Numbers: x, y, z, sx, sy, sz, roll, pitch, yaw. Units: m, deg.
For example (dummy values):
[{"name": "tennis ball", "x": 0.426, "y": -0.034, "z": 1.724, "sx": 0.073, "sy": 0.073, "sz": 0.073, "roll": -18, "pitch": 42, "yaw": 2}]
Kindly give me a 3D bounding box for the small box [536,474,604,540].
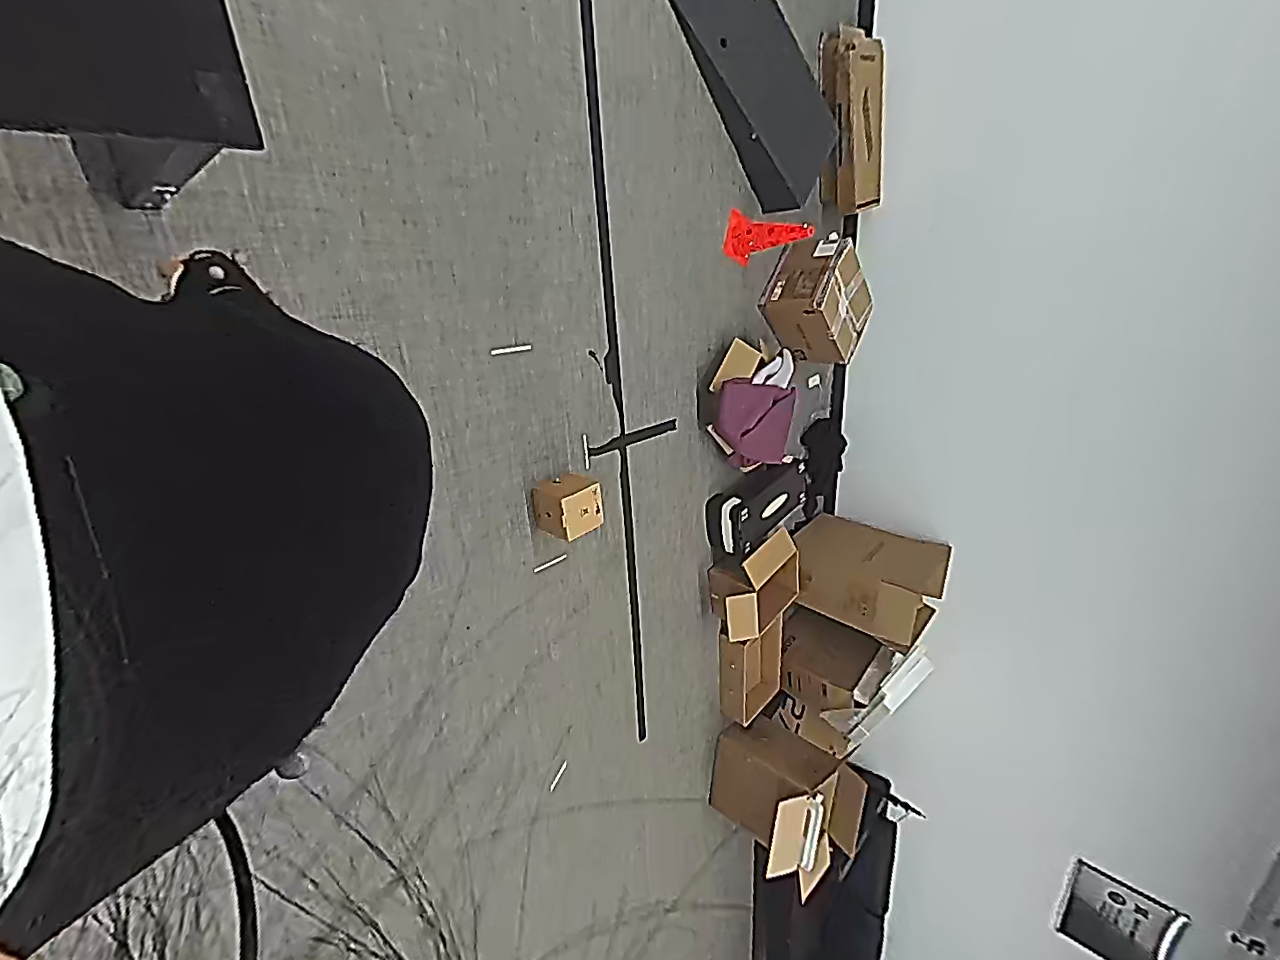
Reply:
[{"name": "small box", "x": -0.256, "y": 0.091, "z": 1.930, "sx": 0.179, "sy": 0.176, "sz": 0.168, "roll": -25, "pitch": 120, "yaw": -40}]
